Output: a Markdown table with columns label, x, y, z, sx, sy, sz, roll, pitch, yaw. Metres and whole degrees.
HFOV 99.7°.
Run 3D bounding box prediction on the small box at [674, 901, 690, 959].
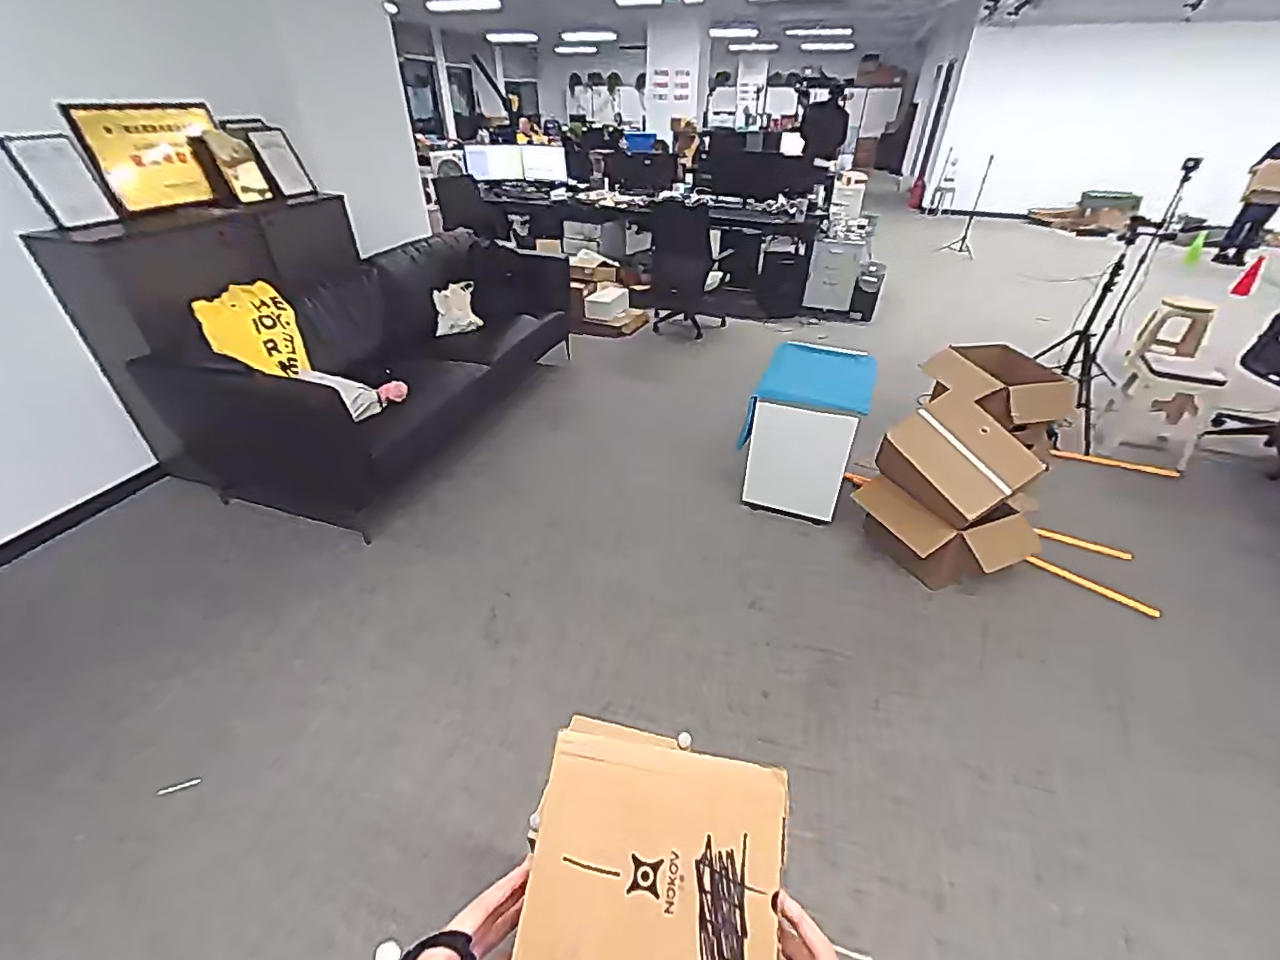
| label | x | y | z | sx | sy | sz | roll | pitch | yaw |
| --- | --- | --- | --- | --- | --- | --- | --- | --- | --- |
| small box | 0.000 | 0.982 | 1.137 | 0.179 | 0.176 | 0.168 | 10 | 36 | 15 |
